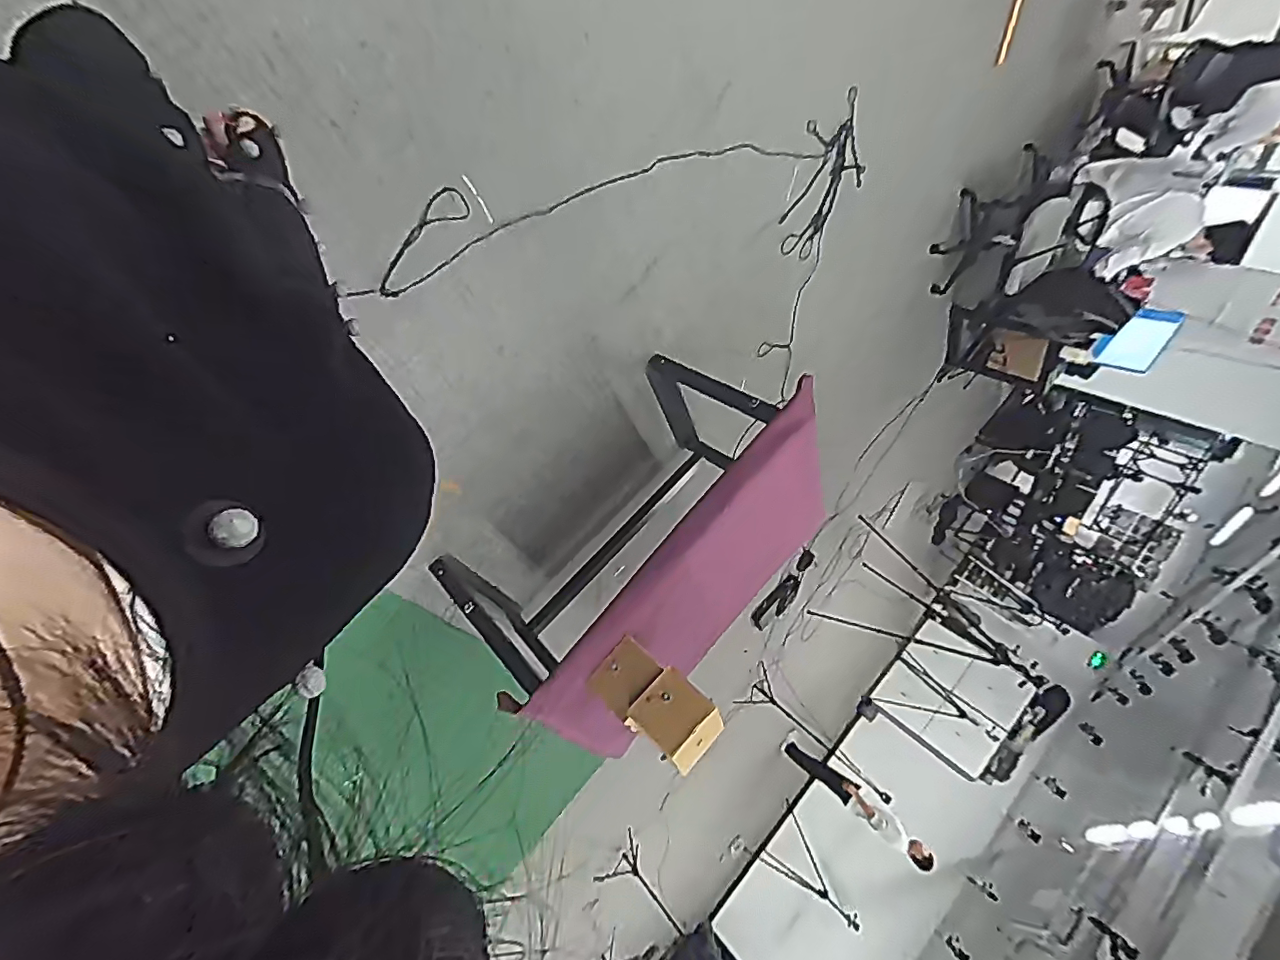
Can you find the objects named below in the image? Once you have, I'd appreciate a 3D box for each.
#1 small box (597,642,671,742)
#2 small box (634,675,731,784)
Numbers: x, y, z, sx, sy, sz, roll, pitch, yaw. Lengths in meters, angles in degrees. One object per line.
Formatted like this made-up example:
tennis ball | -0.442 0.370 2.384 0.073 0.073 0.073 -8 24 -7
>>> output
small box | 0.001 0.591 1.512 0.179 0.176 0.168 -47 142 -13
small box | 0.111 0.641 1.401 0.168 0.176 0.179 -42 139 -19
